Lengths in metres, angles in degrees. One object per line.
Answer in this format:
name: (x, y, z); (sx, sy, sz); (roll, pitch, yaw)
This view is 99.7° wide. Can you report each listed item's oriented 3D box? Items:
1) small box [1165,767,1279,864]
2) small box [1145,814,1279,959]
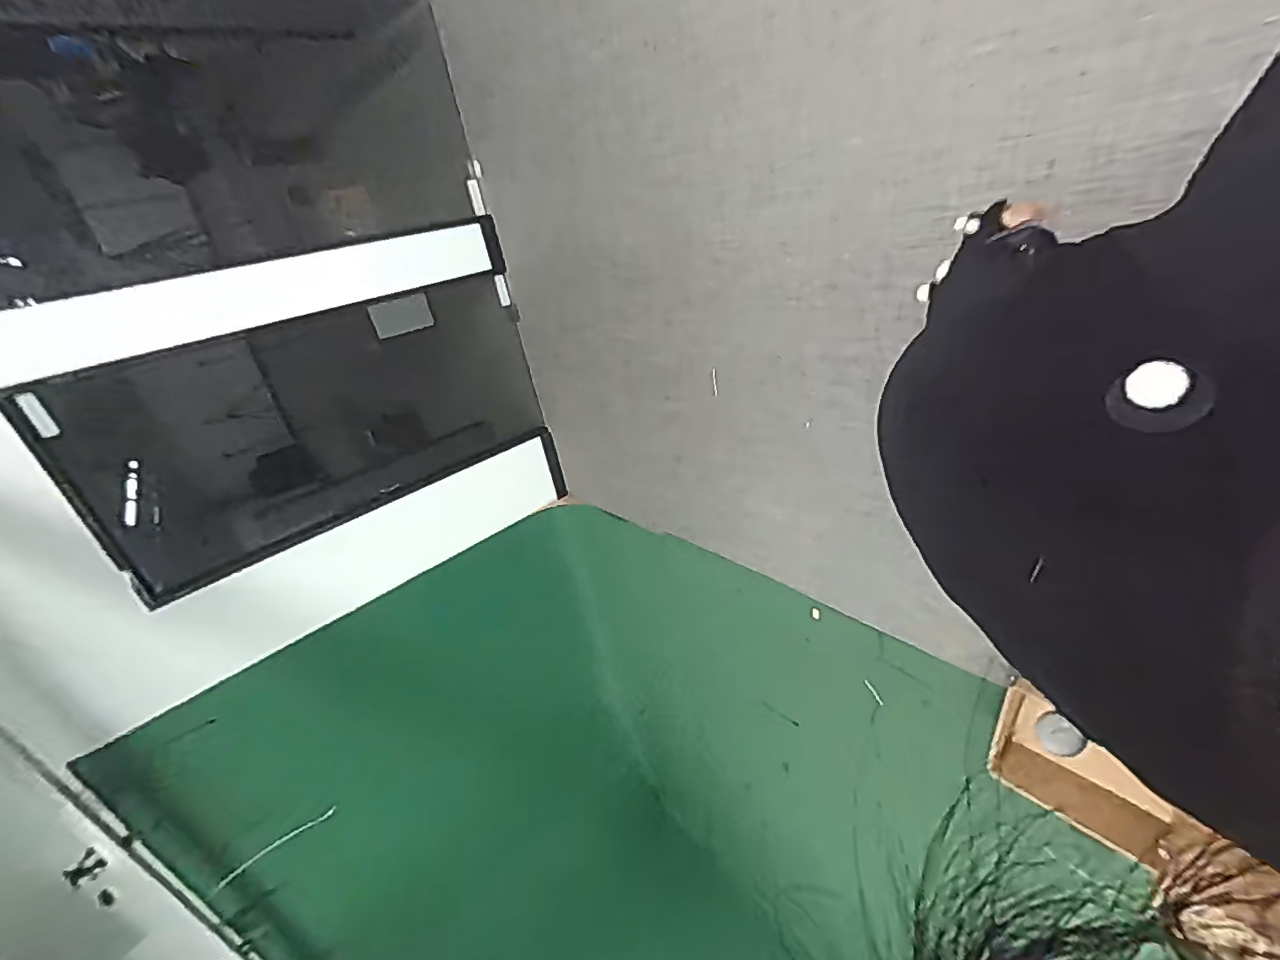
small box: (1.411, 0.844, 1.306); (0.168, 0.176, 0.179); (23, 132, 45)
small box: (1.290, 0.906, 1.212); (0.179, 0.176, 0.168); (24, 133, 45)
